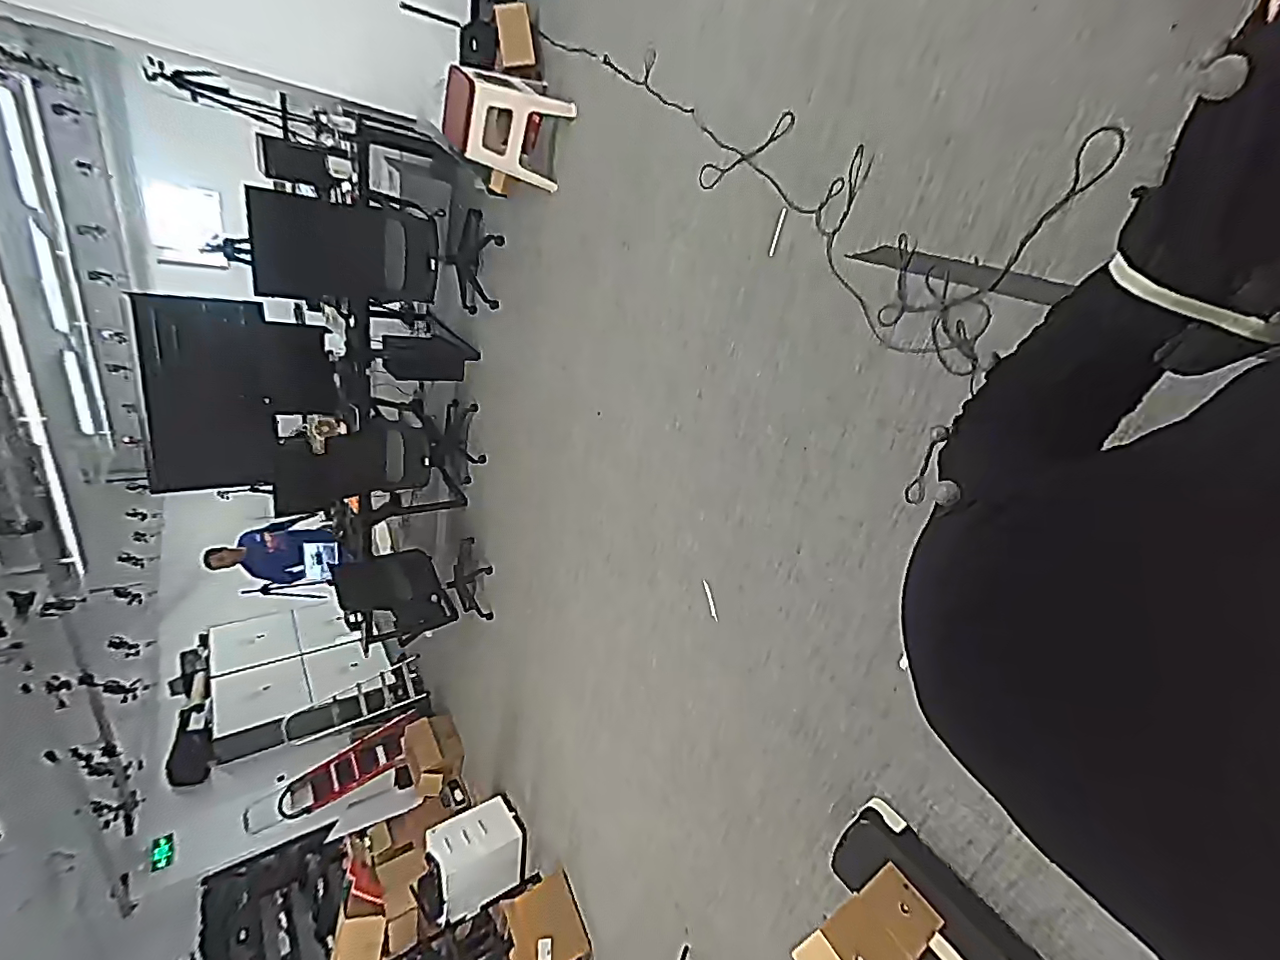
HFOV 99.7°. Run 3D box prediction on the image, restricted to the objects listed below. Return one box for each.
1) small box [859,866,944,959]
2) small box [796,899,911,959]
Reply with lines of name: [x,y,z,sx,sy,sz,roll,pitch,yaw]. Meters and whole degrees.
small box: [0.669,1.180,1.434,0.168,0.176,0.179,43,129,40]
small box: [0.533,1.193,1.344,0.179,0.176,0.168,45,129,38]
